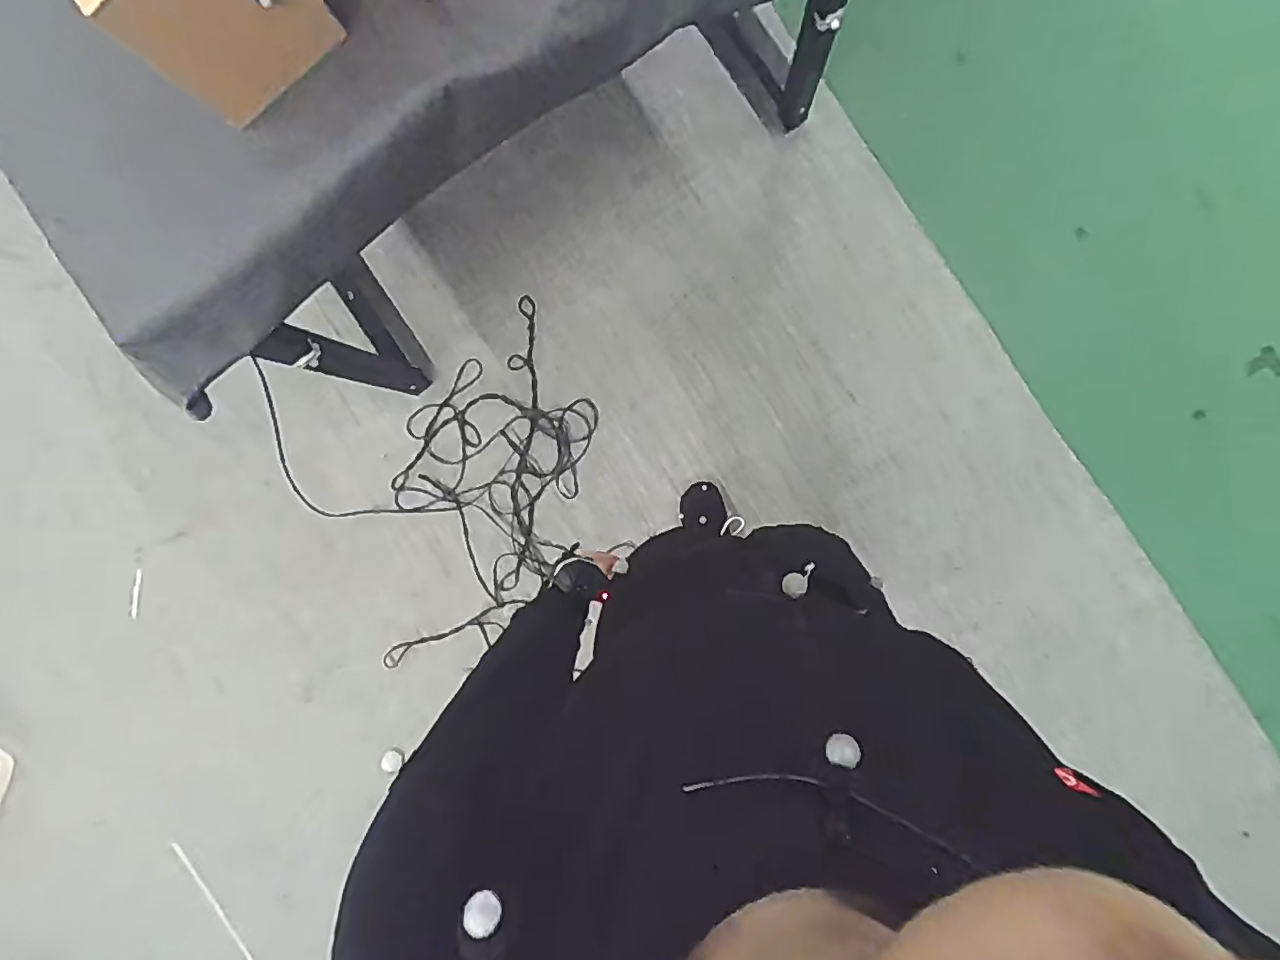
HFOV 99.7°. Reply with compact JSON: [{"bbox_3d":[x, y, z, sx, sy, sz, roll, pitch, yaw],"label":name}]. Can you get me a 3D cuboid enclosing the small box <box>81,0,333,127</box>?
[{"bbox_3d":[-0.462,-0.530,0.563,0.179,0.176,0.168,-38,87,6],"label":"small box"}]
